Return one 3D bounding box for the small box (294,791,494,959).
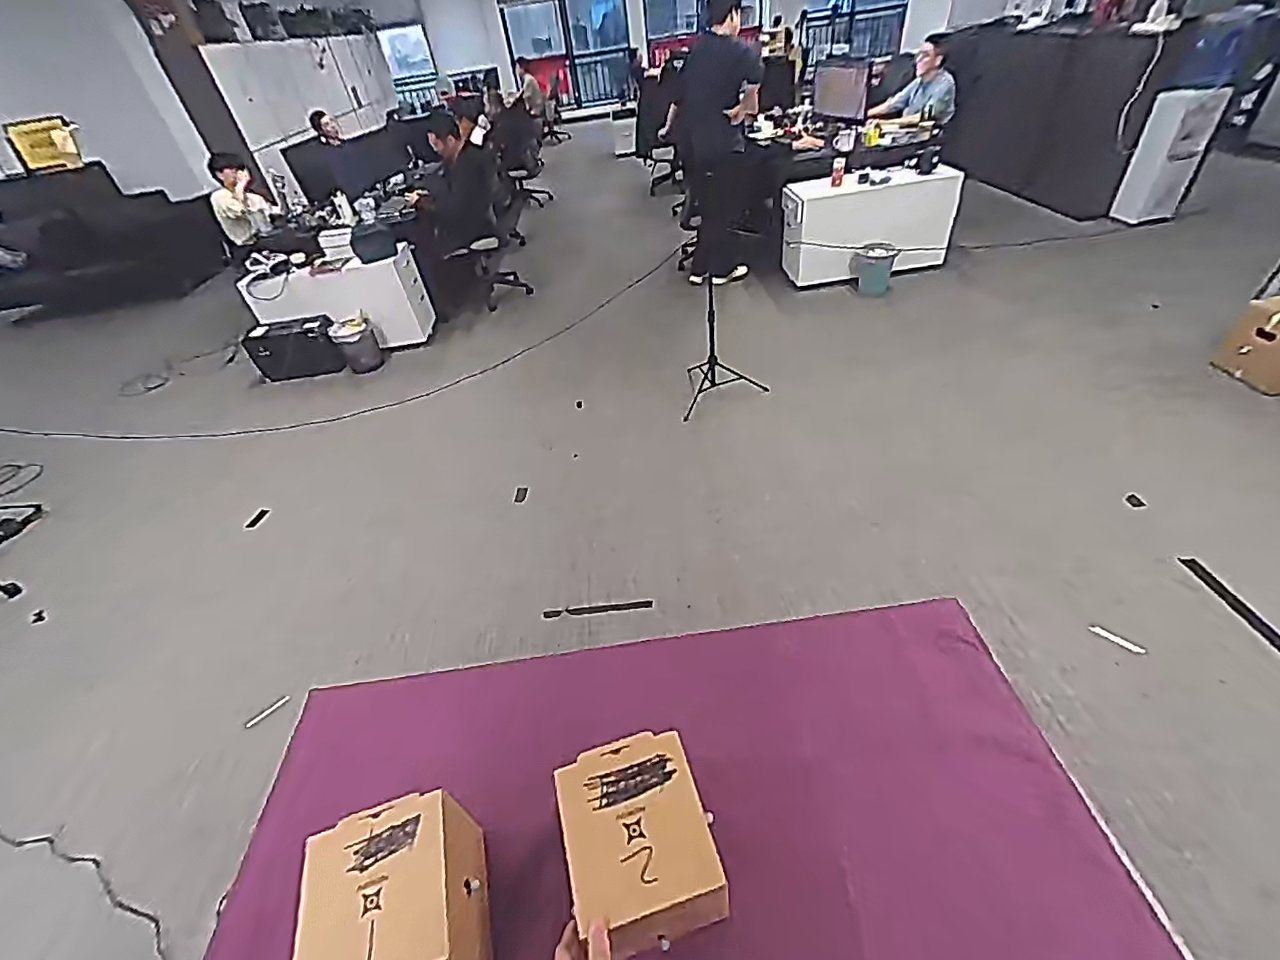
[{"bbox_3d":[-0.288,0.526,0.660,0.168,0.176,0.179,-18,42,-9],"label":"small box"}]
